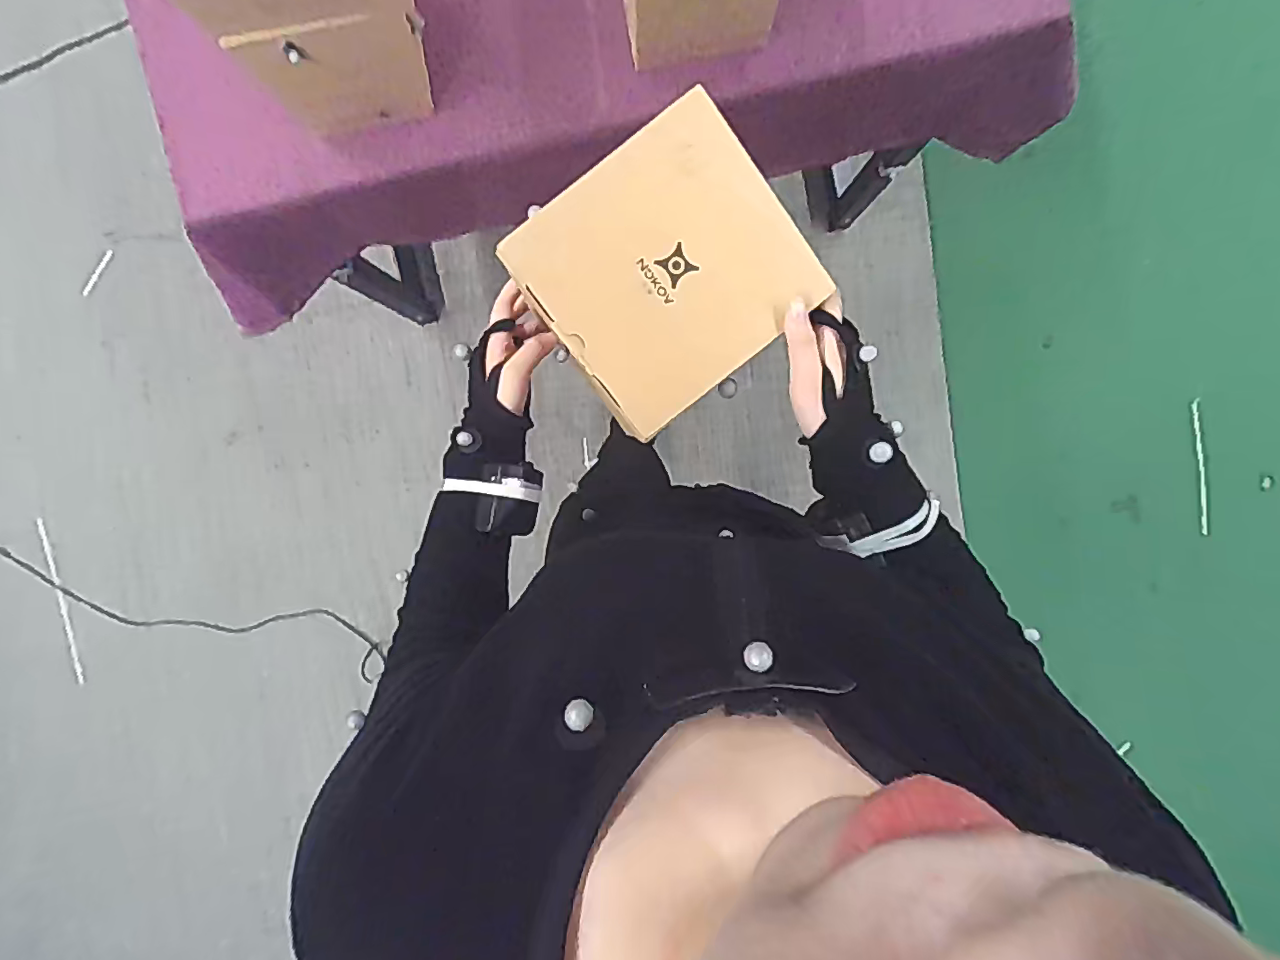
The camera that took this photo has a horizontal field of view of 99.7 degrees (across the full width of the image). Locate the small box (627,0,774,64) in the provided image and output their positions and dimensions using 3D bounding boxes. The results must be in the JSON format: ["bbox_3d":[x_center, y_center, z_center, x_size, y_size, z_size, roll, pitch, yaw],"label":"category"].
[{"bbox_3d":[0.065,-0.627,0.624,0.179,0.176,0.168,-11,94,1],"label":"small box"}]

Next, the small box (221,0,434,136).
[{"bbox_3d":[-0.364,-0.550,0.634,0.168,0.176,0.179,-10,93,2],"label":"small box"}]

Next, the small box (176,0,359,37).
[{"bbox_3d":[-0.365,-0.539,0.470,0.179,0.176,0.168,-9,93,2],"label":"small box"}]
